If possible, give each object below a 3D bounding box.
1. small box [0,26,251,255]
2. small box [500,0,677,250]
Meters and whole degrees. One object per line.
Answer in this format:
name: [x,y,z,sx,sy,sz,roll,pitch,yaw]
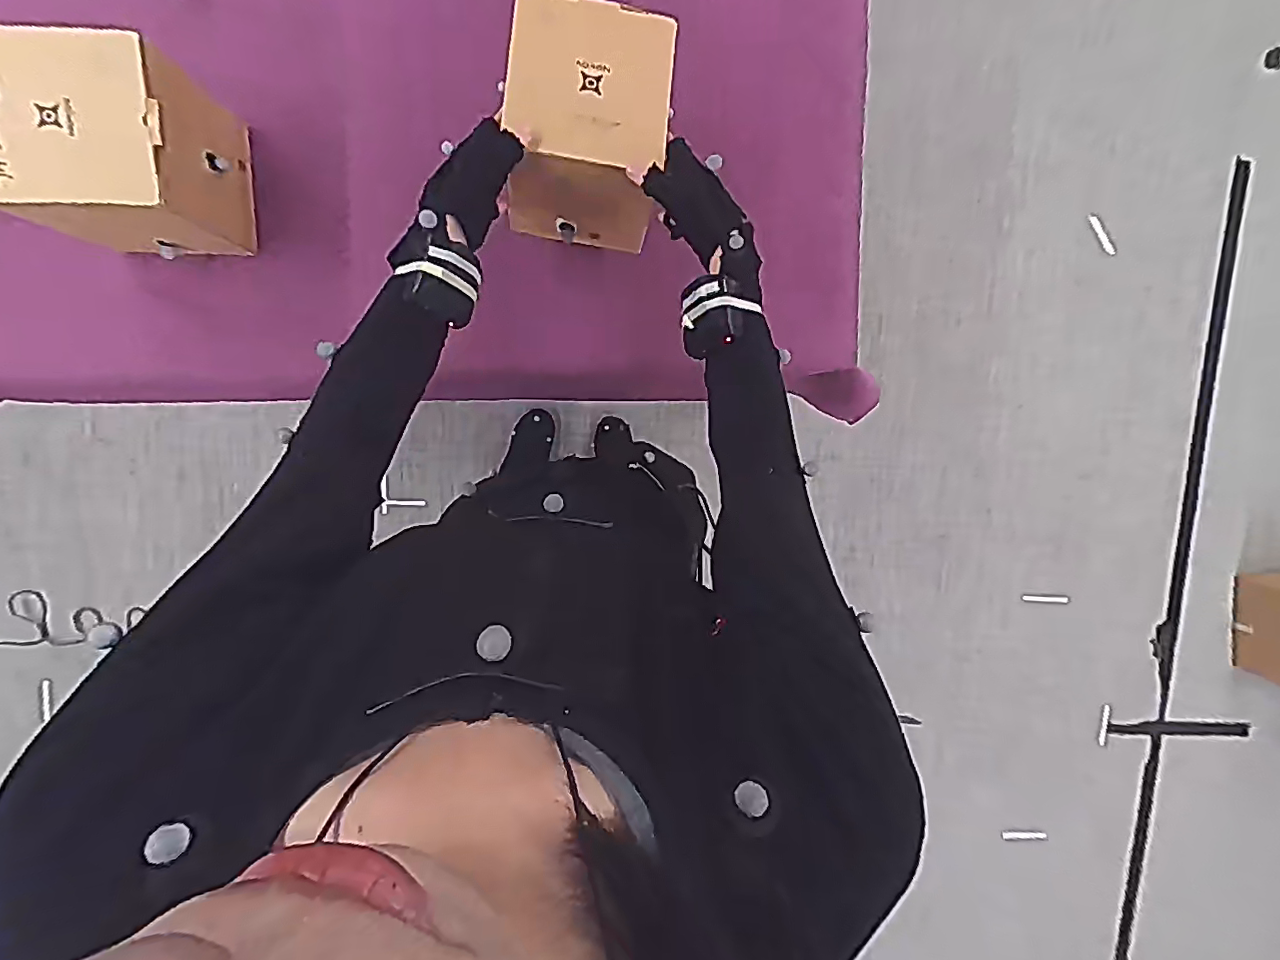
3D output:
small box: [-0.579,-0.367,0.617,0.179,0.176,0.168,-1,96,-6]
small box: [-0.060,-0.394,0.615,0.168,0.176,0.179,5,85,-8]
